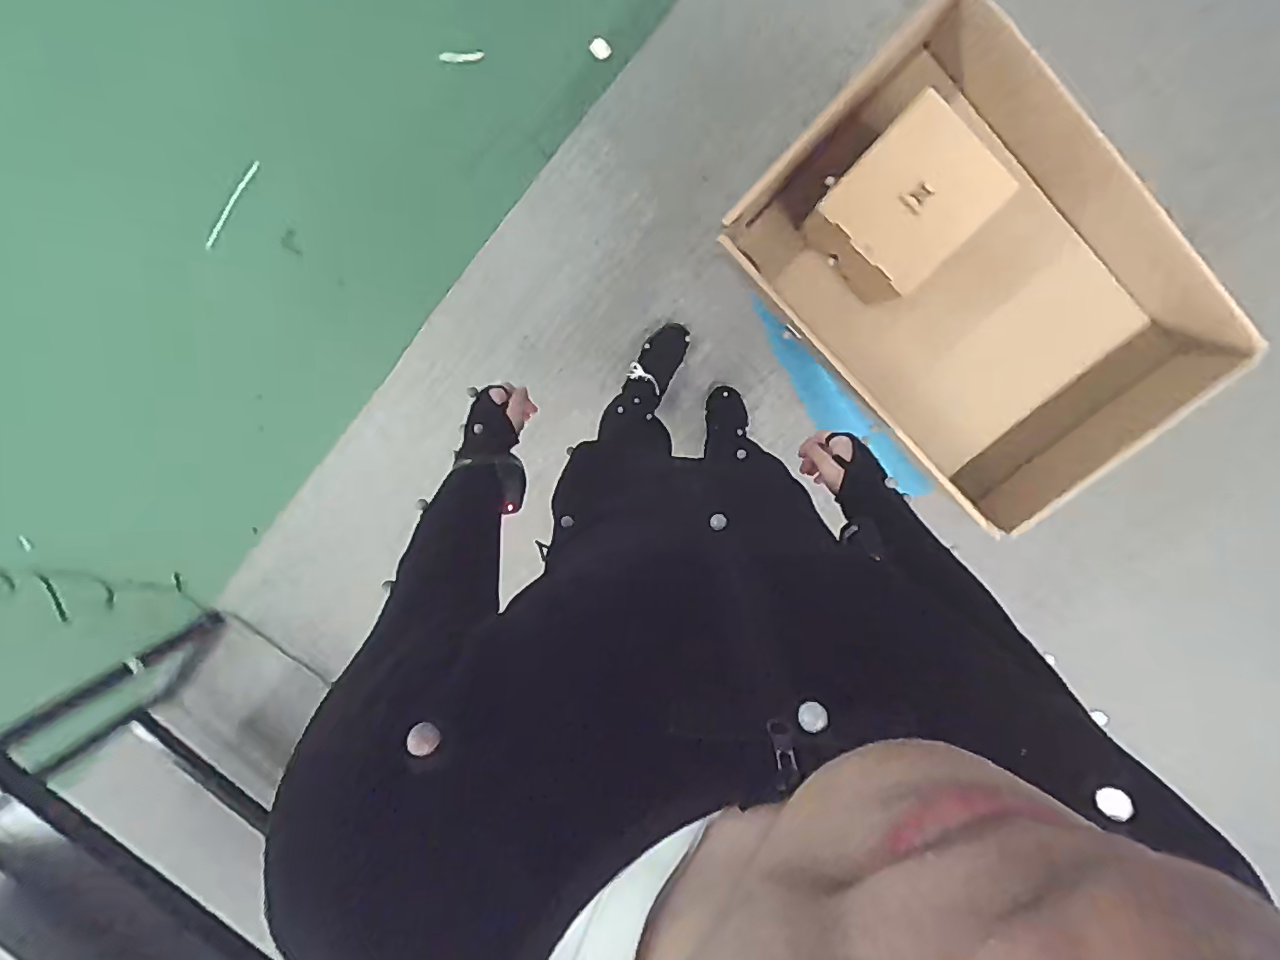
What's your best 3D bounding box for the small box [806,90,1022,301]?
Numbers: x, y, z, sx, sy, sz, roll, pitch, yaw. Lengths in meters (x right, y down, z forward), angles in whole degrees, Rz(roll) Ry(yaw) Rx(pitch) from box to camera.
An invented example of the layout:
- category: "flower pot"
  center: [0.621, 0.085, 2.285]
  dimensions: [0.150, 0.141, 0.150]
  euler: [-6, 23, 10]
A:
- category: "small box"
  center: [0.354, -0.367, 0.740]
  dimensions: [0.168, 0.176, 0.179]
  euler: [44, 106, -6]
